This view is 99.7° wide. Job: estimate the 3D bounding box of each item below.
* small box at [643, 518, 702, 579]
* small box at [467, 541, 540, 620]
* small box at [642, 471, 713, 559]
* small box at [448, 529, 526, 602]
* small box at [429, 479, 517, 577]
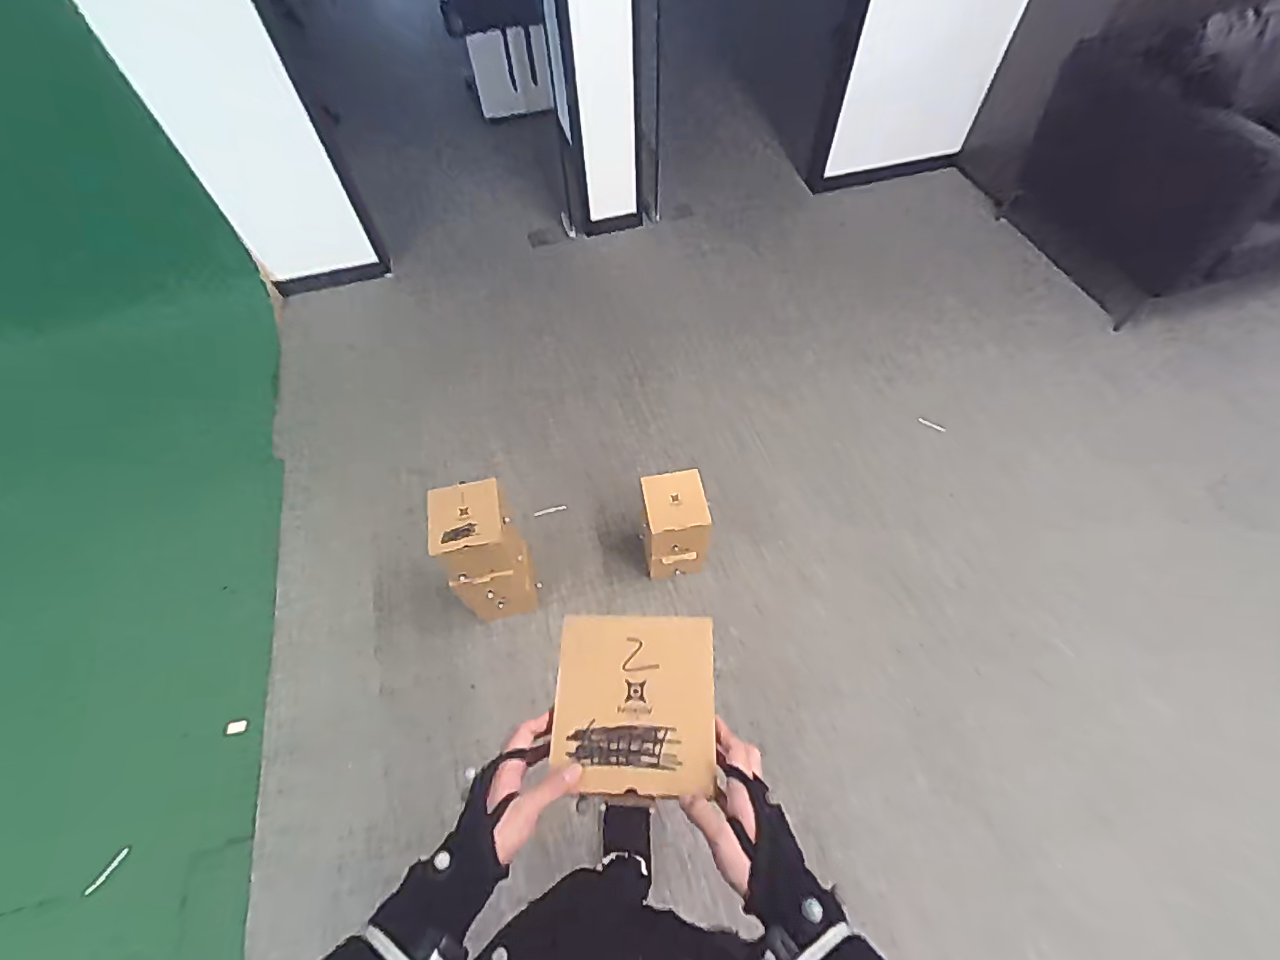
[{"bbox_3d":[0.095,0.188,1.652,0.168,0.176,0.179,-5,59,0],"label":"small box"},{"bbox_3d":[-0.401,0.300,1.595,0.179,0.176,0.168,-9,59,-5],"label":"small box"},{"bbox_3d":[0.098,0.100,1.517,0.168,0.176,0.179,-8,59,-5],"label":"small box"},{"bbox_3d":[-0.407,0.219,1.454,0.168,0.176,0.179,-10,60,-5],"label":"small box"},{"bbox_3d":[-0.403,0.124,1.318,0.168,0.176,0.179,-11,59,-5],"label":"small box"}]
